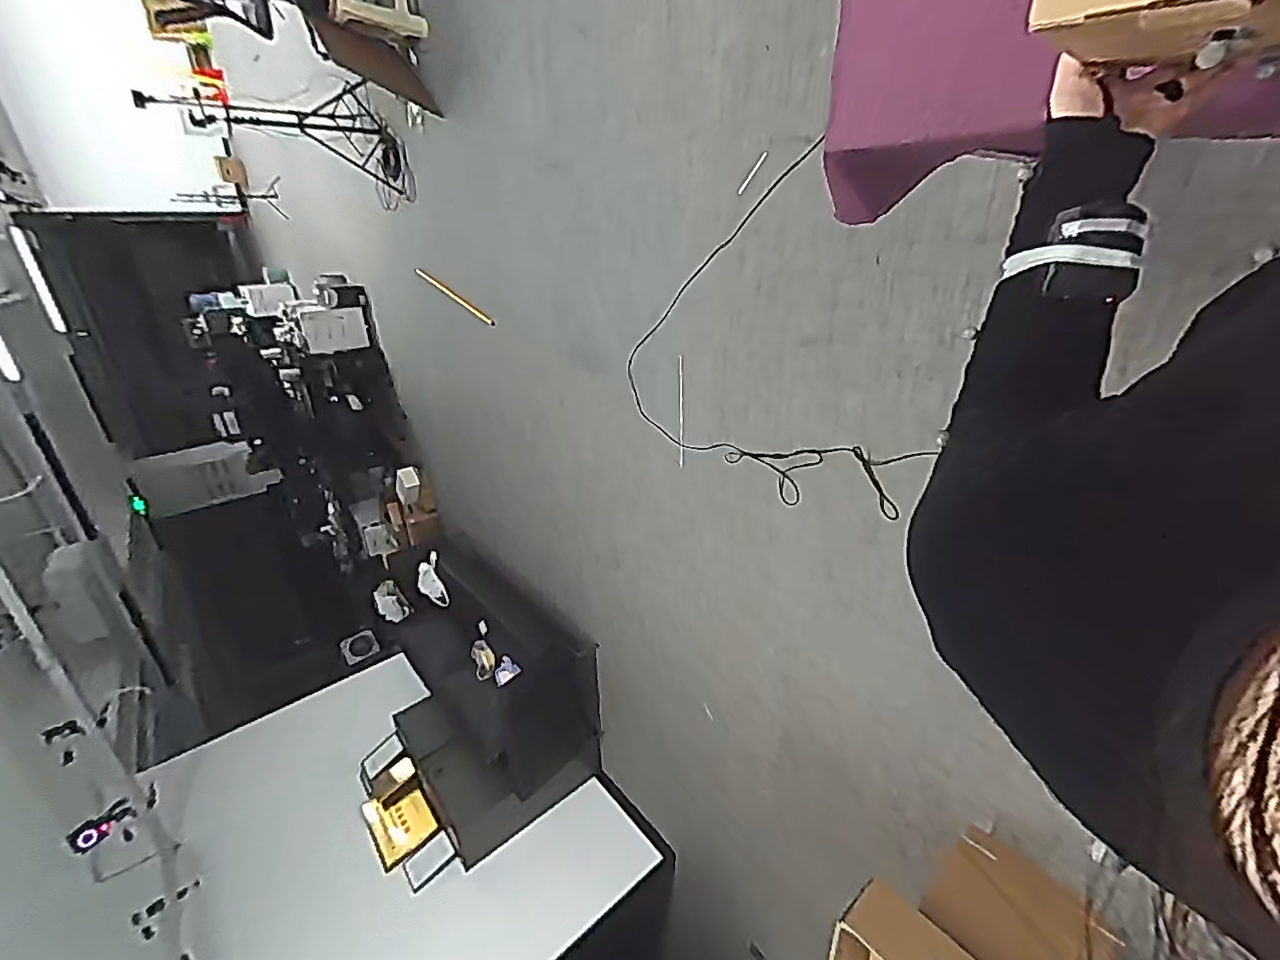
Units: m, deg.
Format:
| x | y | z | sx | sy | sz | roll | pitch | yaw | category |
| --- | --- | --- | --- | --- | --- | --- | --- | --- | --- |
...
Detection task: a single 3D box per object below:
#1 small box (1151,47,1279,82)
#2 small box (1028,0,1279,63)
| x | y | z | sx | sy | sz | roll | pitch | yaw | category |
| --- | --- | --- | --- | --- | --- | --- | --- | --- | --- |
| 0.490 | -0.409 | 0.381 | 0.168 | 0.176 | 0.179 | 30 | 129 | 43 | small box |
| 0.361 | -0.351 | 0.297 | 0.168 | 0.176 | 0.179 | 29 | 129 | 42 | small box |
